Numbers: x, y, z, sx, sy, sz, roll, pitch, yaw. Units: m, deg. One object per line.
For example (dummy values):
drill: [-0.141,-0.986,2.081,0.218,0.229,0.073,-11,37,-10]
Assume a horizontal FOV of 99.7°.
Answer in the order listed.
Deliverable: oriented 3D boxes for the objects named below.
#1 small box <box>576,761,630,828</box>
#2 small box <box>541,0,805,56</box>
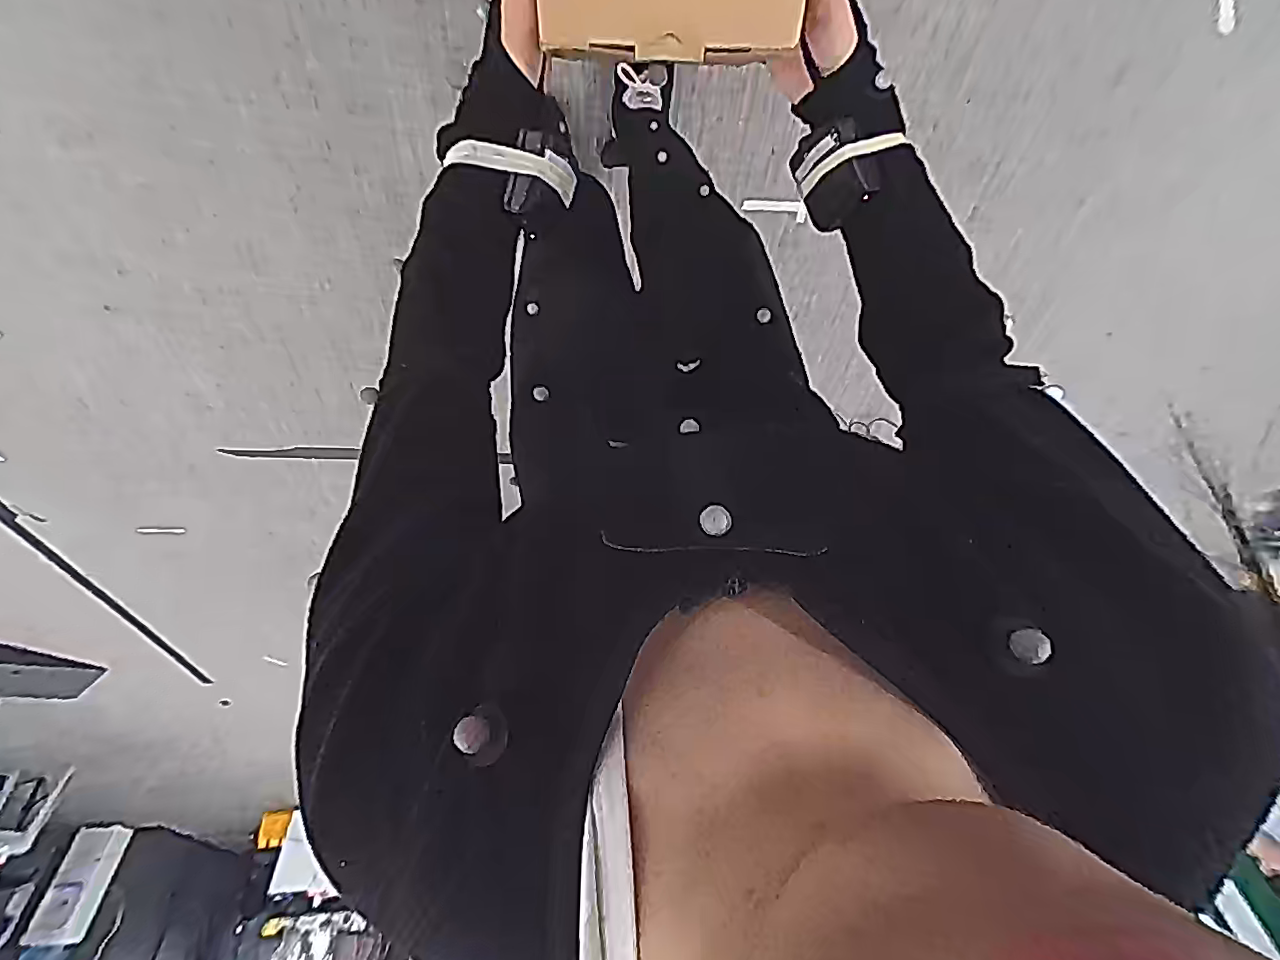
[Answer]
small box: [-0.132,1.078,1.859,0.168,0.176,0.179,2,138,-8]
small box: [0.019,-0.392,0.354,0.168,0.176,0.179,-2,128,-4]
